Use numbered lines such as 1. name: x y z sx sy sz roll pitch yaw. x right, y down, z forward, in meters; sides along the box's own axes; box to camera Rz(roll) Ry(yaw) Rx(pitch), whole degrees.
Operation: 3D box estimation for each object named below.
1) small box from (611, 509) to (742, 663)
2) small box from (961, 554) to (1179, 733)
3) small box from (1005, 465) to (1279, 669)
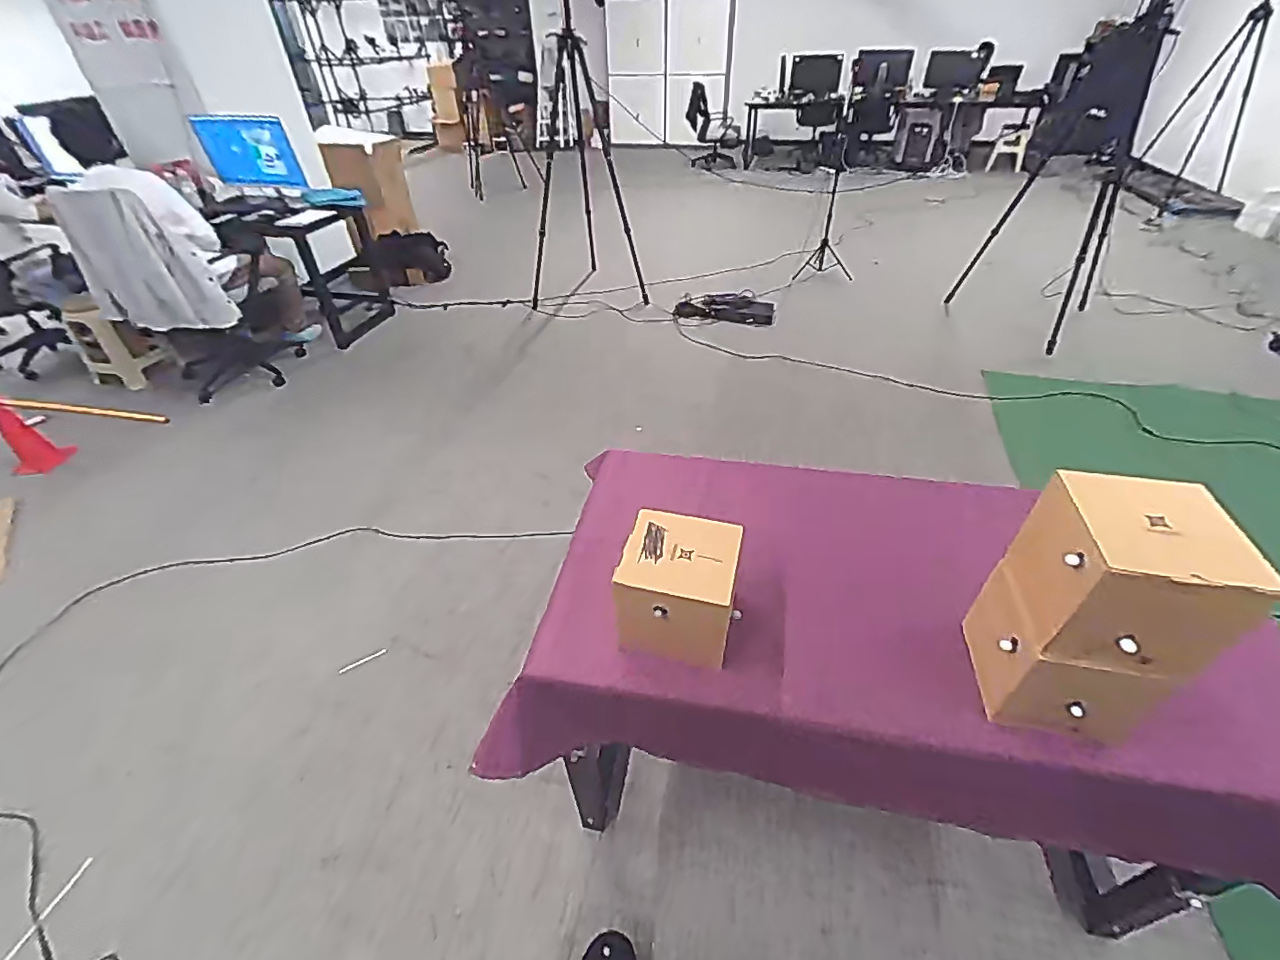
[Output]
1. small box: 0.062 0.172 0.881 0.179 0.176 0.168 9 41 12
2. small box: 0.596 0.236 0.781 0.168 0.176 0.179 7 41 10
3. small box: 0.598 0.107 0.681 0.168 0.176 0.179 7 42 11
